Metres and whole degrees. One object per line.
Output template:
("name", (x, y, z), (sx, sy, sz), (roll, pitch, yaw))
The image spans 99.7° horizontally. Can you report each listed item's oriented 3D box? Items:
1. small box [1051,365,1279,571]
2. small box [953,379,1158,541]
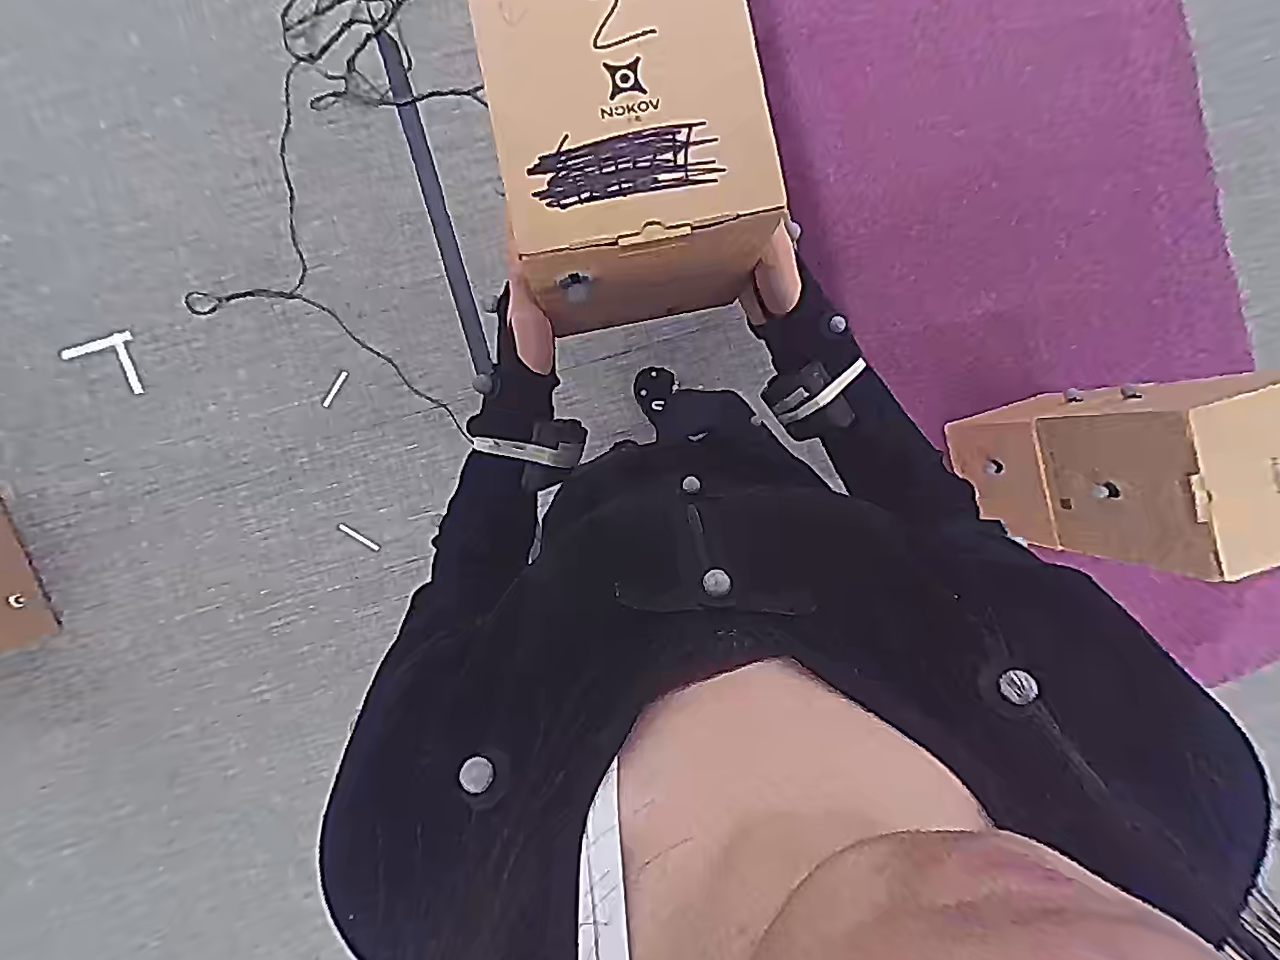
("small box", (0.582, -0.018, 0.576), (0.179, 0.176, 0.168), (-15, 95, -4))
("small box", (0.562, -0.028, 0.738), (0.179, 0.176, 0.168), (-16, 95, -5))
